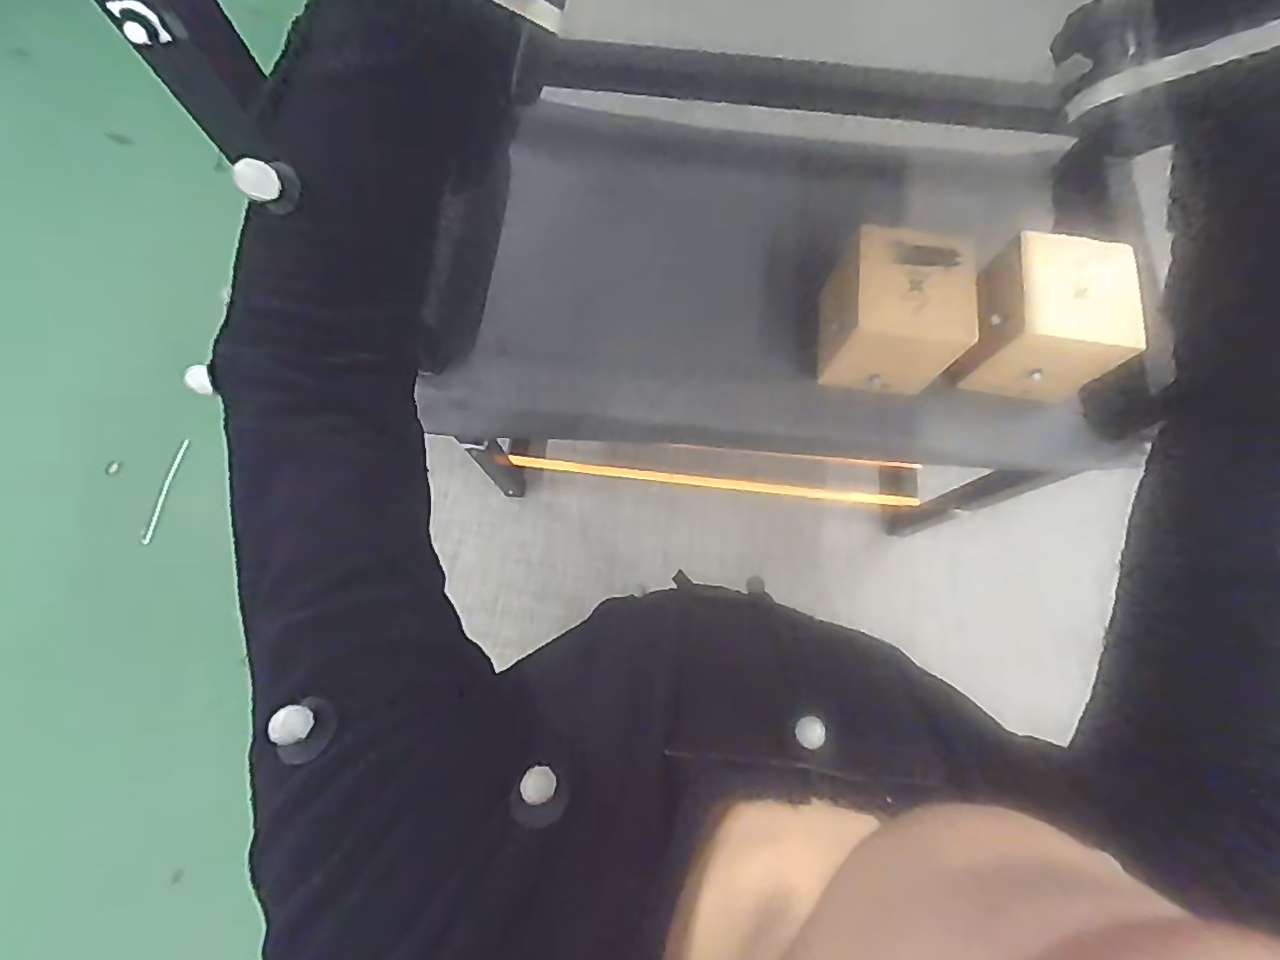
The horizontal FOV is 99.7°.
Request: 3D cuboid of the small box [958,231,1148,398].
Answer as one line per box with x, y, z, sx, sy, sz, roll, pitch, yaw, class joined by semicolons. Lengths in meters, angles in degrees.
0.617;-0.244;0.832;0.168;0.176;0.179;9;73;2;small box
